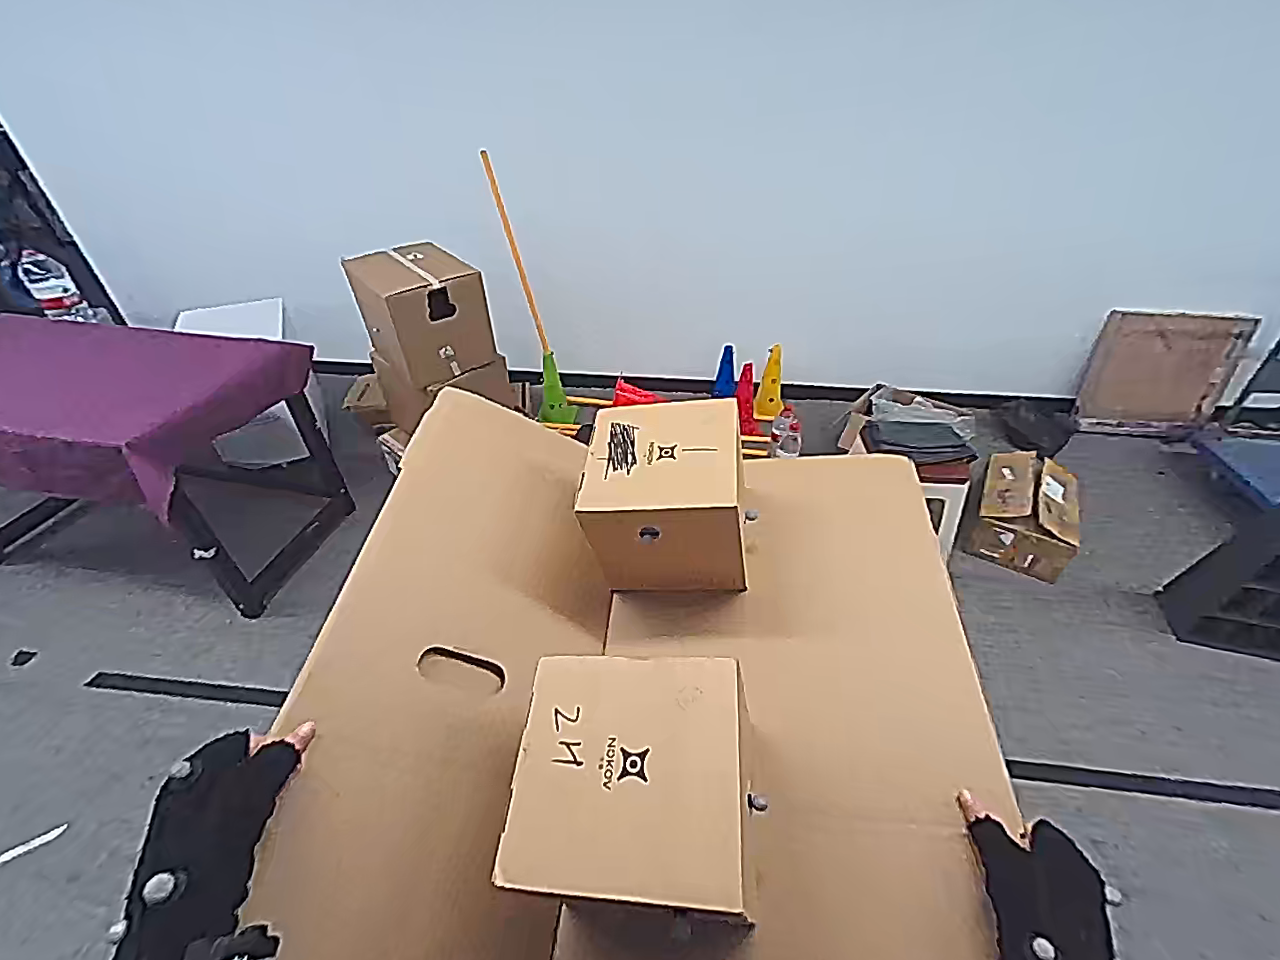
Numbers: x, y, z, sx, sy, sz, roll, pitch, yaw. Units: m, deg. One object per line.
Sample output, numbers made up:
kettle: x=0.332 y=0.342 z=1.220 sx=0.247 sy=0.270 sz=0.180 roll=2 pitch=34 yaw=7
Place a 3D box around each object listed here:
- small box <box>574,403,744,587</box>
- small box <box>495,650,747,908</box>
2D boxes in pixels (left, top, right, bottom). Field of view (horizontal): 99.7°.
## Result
small box: x=0.036 y=0.024 z=0.683 sx=0.179 sy=0.176 sz=0.168 roll=-3 pitch=49 yaw=13
small box: x=0.004 y=0.265 z=0.480 sx=0.179 sy=0.176 sz=0.168 roll=-4 pitch=49 yaw=14
